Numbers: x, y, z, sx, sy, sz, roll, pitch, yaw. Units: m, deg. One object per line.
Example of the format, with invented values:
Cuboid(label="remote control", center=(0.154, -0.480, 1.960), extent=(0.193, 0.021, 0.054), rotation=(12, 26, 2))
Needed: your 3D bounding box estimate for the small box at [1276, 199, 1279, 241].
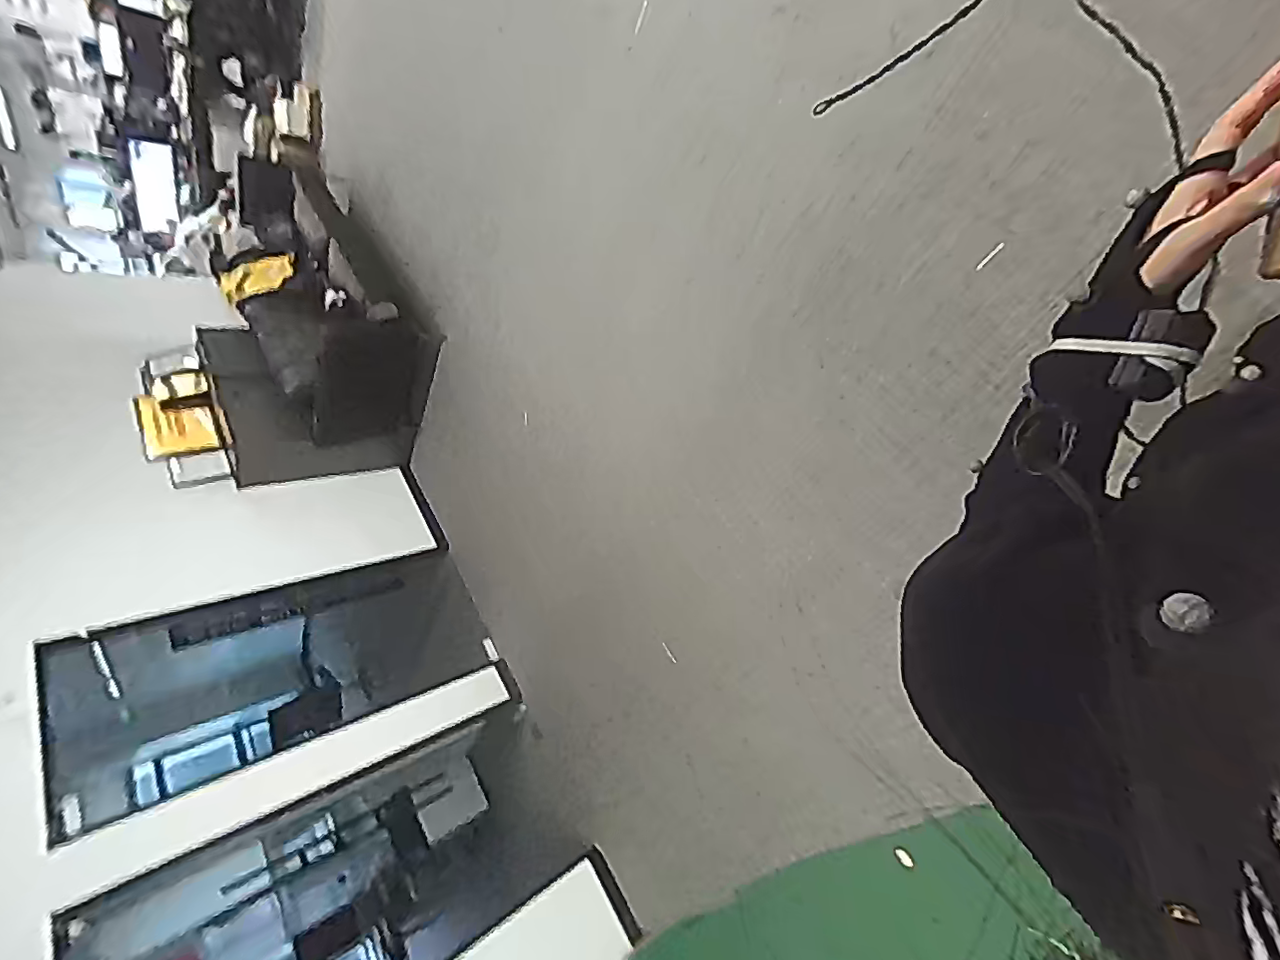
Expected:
Cuboid(label="small box", center=(0.447, -0.214, 0.259), extent=(0.168, 0.176, 0.179), rotation=(7, 108, 45))
